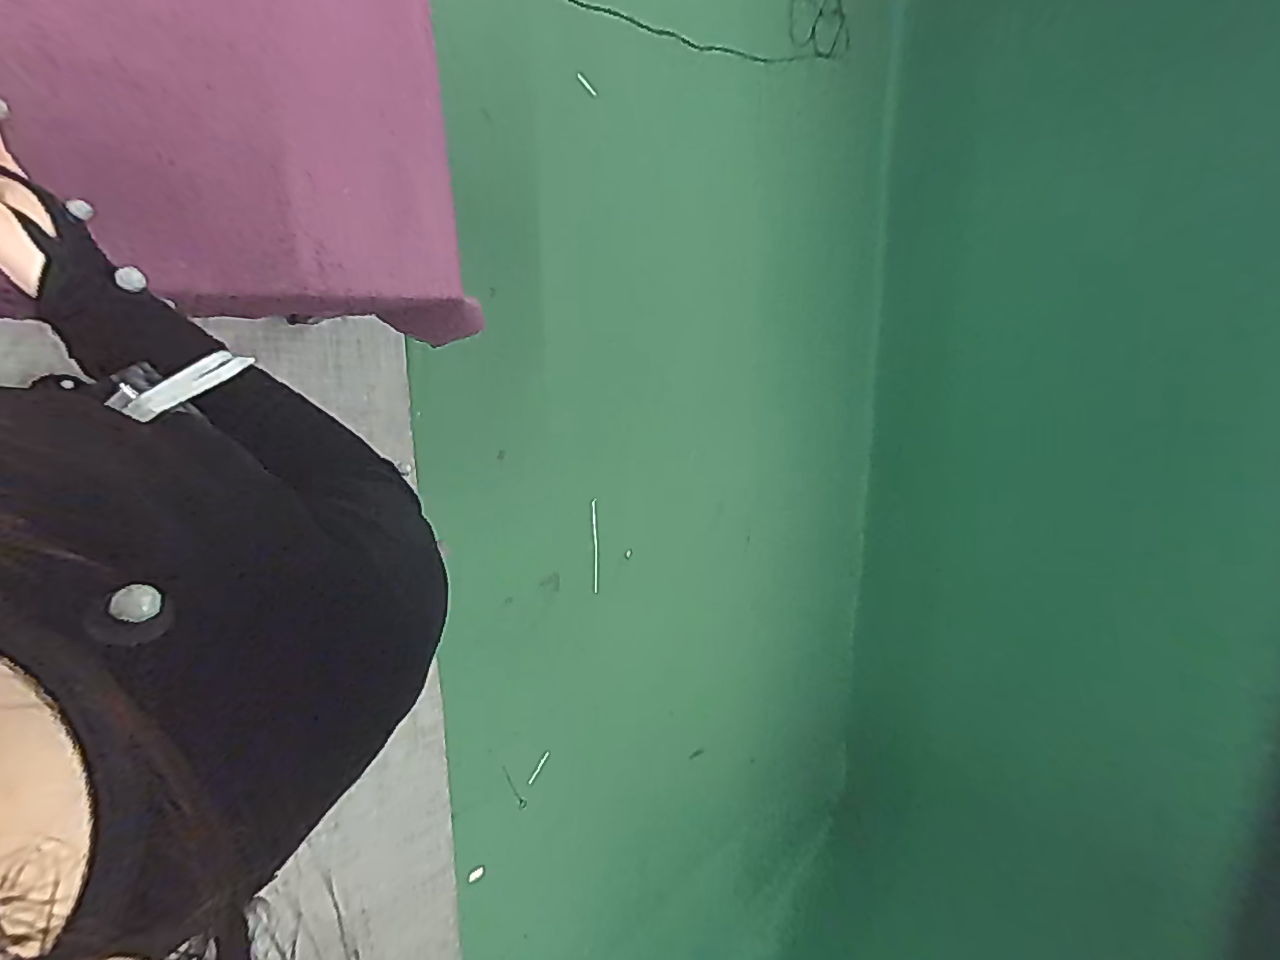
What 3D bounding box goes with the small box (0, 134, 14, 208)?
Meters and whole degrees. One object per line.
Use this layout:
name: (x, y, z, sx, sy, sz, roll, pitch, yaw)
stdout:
small box: (-0.506, -0.258, 0.308, 0.168, 0.176, 0.179, -13, 120, -42)
